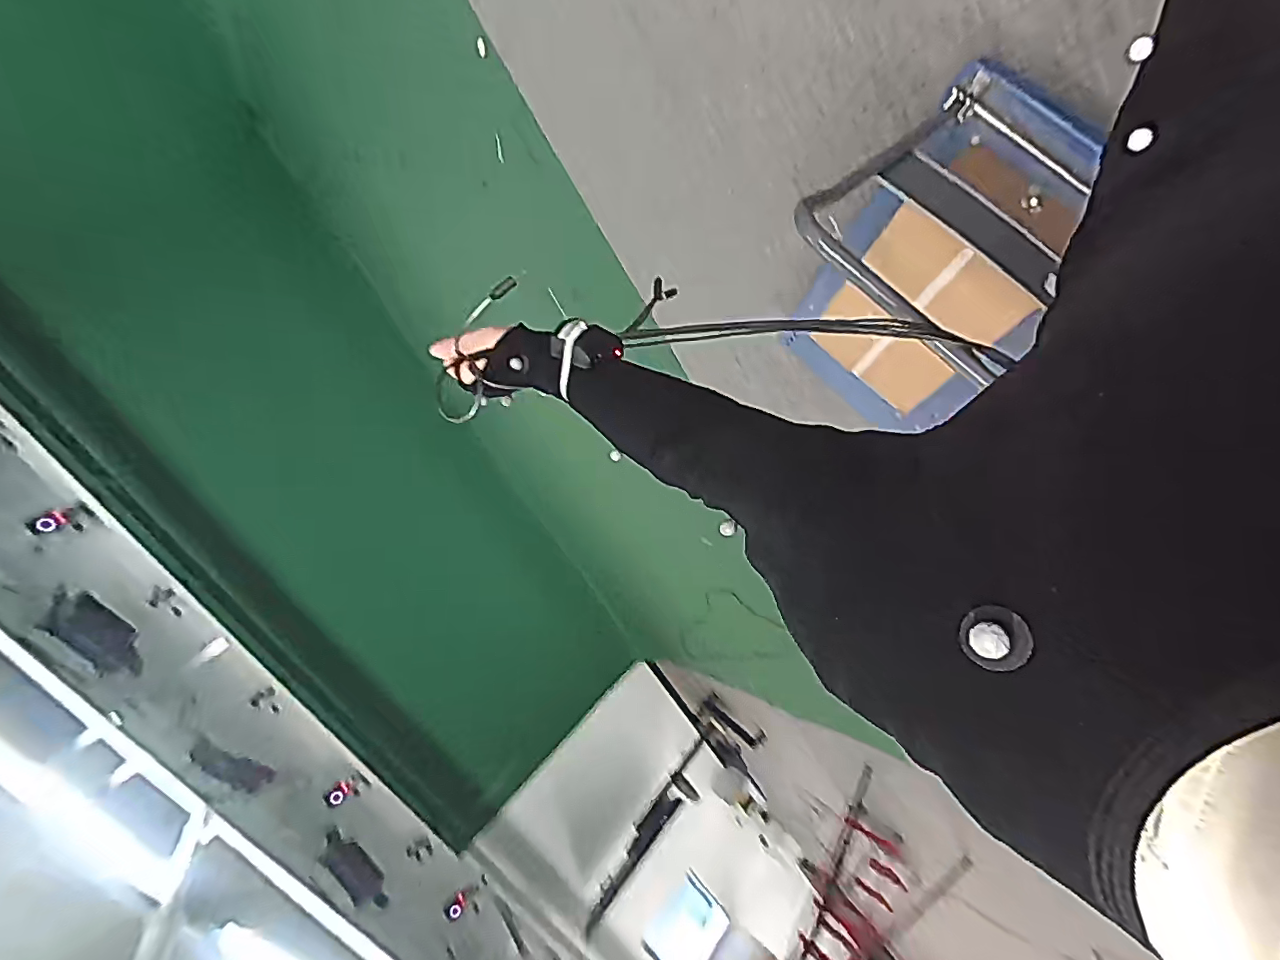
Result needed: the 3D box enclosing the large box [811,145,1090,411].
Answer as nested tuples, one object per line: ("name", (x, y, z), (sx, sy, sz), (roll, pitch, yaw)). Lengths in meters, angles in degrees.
("large box", (0.675, -0.441, 1.228), (0.320, 0.320, 0.408), (45, 154, 9))
